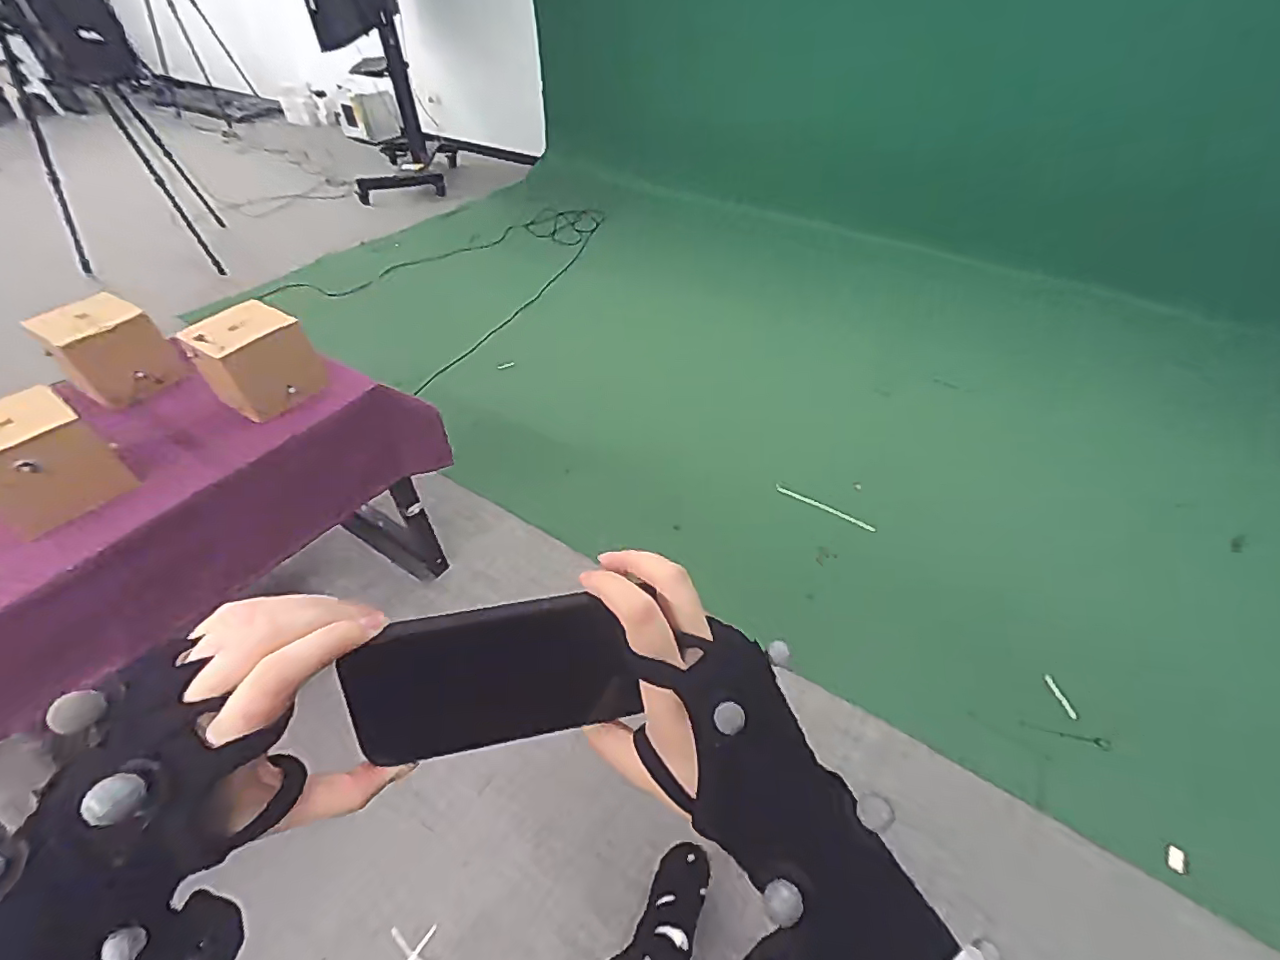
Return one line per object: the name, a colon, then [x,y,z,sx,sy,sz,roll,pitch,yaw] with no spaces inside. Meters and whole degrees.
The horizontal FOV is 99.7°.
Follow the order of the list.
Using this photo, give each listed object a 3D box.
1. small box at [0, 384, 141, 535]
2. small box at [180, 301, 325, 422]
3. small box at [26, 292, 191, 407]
small box: [-1.059,-0.035,0.958,0.168,0.176,0.179,29,52,25]
small box: [-0.823,-0.258,1.174,0.168,0.176,0.179,25,51,23]
small box: [-1.167,-0.287,1.200,0.179,0.176,0.168,24,51,21]
